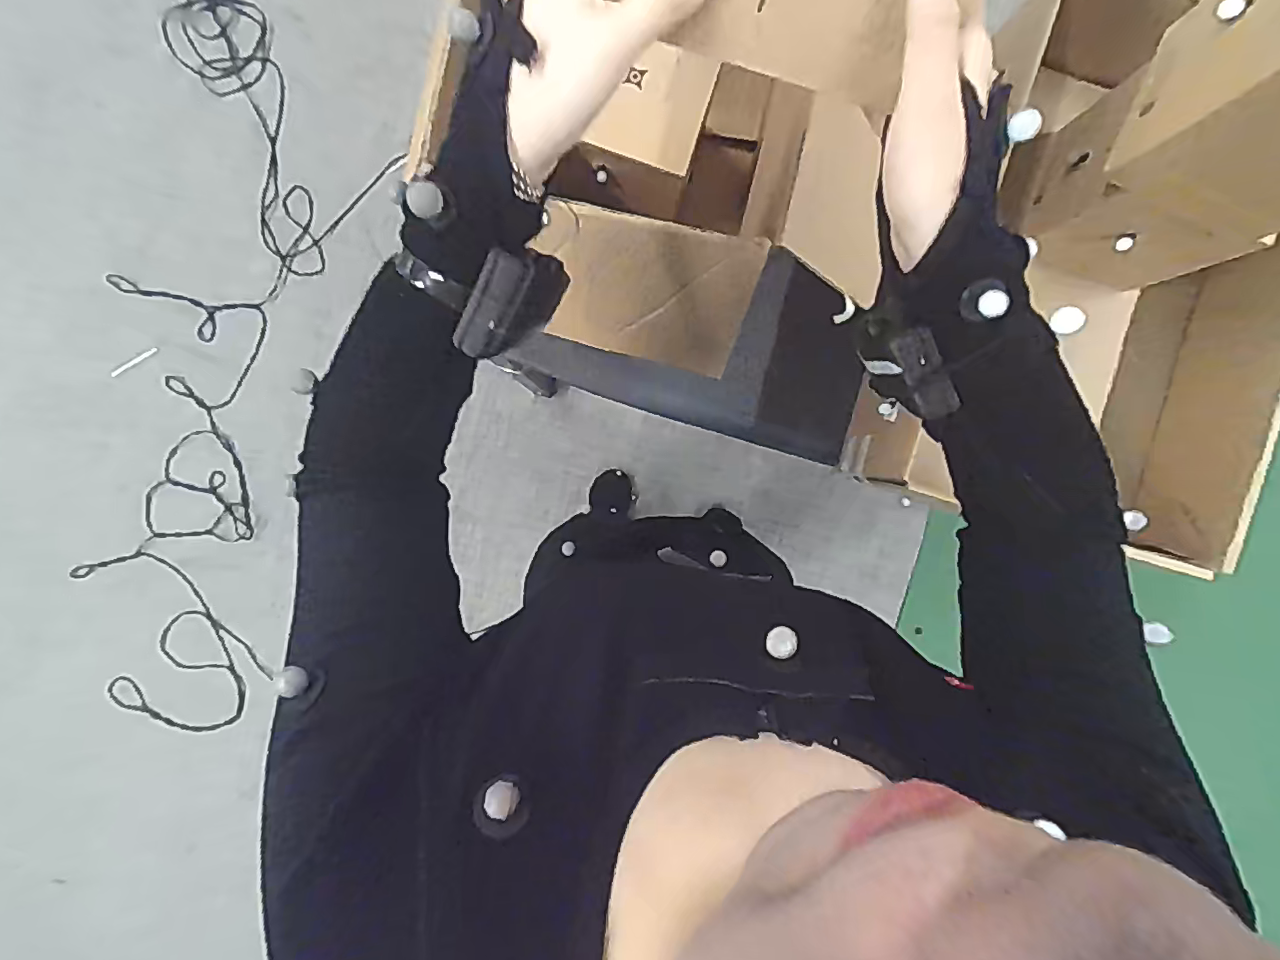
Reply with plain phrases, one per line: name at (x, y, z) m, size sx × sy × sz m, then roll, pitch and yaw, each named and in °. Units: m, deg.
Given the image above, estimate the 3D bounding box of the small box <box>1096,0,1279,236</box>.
small box at (0.586, -0.356, 0.495) m, size 0.179 × 0.176 × 0.168 m, roll 23°, pitch 92°, yaw -4°

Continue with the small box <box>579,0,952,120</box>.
small box at (0.075, -0.314, 0.252) m, size 0.168 × 0.179 × 0.176 m, roll 13°, pitch 49°, yaw -7°
